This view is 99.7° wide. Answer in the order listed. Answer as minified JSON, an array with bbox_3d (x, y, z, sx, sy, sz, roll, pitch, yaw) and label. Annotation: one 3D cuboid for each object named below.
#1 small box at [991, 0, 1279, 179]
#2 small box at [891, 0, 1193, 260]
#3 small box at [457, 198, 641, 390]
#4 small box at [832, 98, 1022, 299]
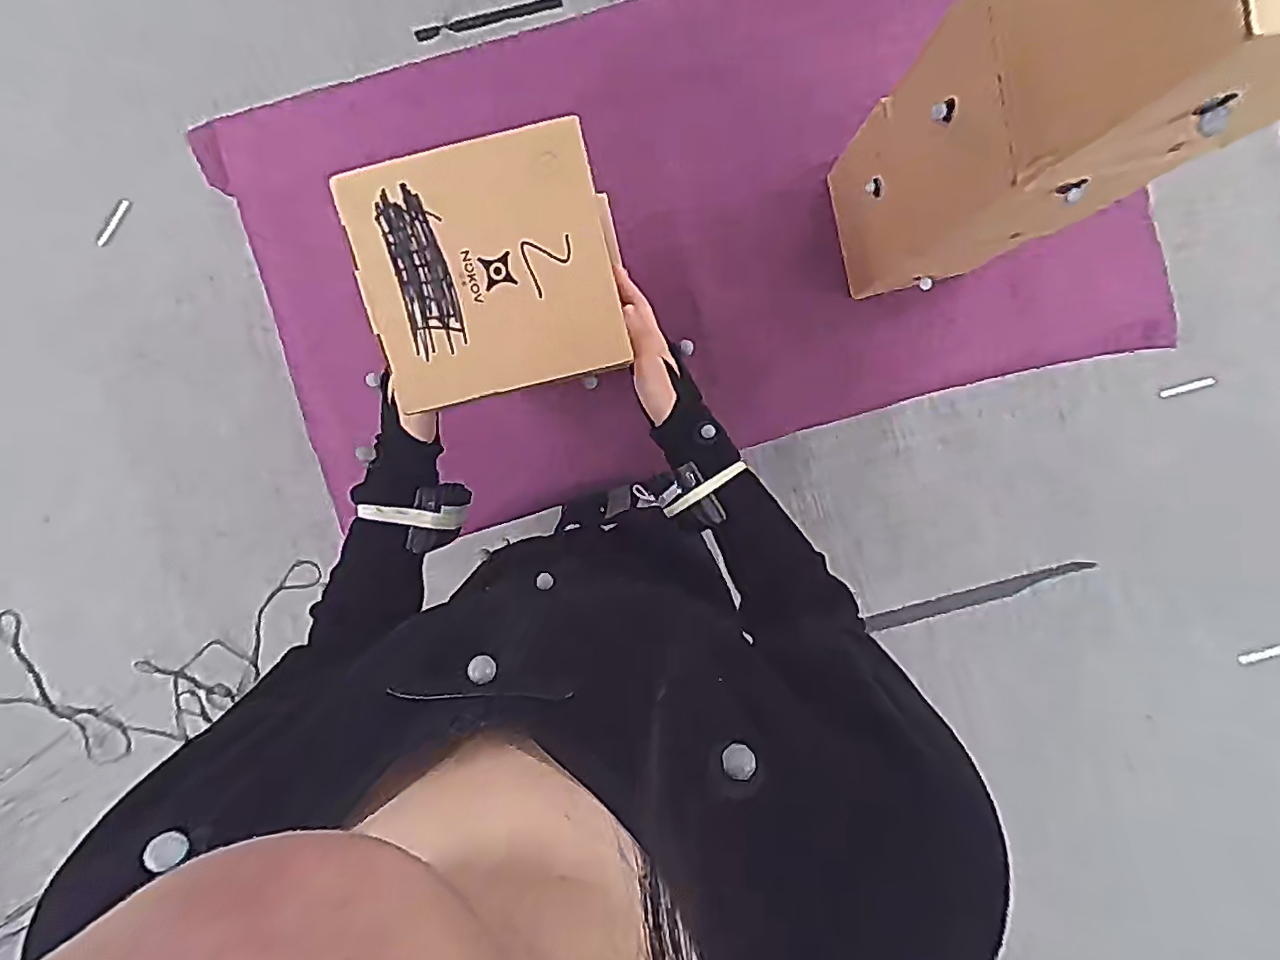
[{"bbox_3d":[0.365,-0.322,0.346,0.168,0.176,0.179,-11,93,1],"label":"small box"},{"bbox_3d":[0.361,-0.336,0.509,0.168,0.176,0.179,-11,92,1],"label":"small box"},{"bbox_3d":[-0.101,-0.216,0.673,0.179,0.176,0.168,-13,92,0],"label":"small box"},{"bbox_3d":[0.357,-0.349,0.672,0.168,0.176,0.179,-13,93,1],"label":"small box"}]
